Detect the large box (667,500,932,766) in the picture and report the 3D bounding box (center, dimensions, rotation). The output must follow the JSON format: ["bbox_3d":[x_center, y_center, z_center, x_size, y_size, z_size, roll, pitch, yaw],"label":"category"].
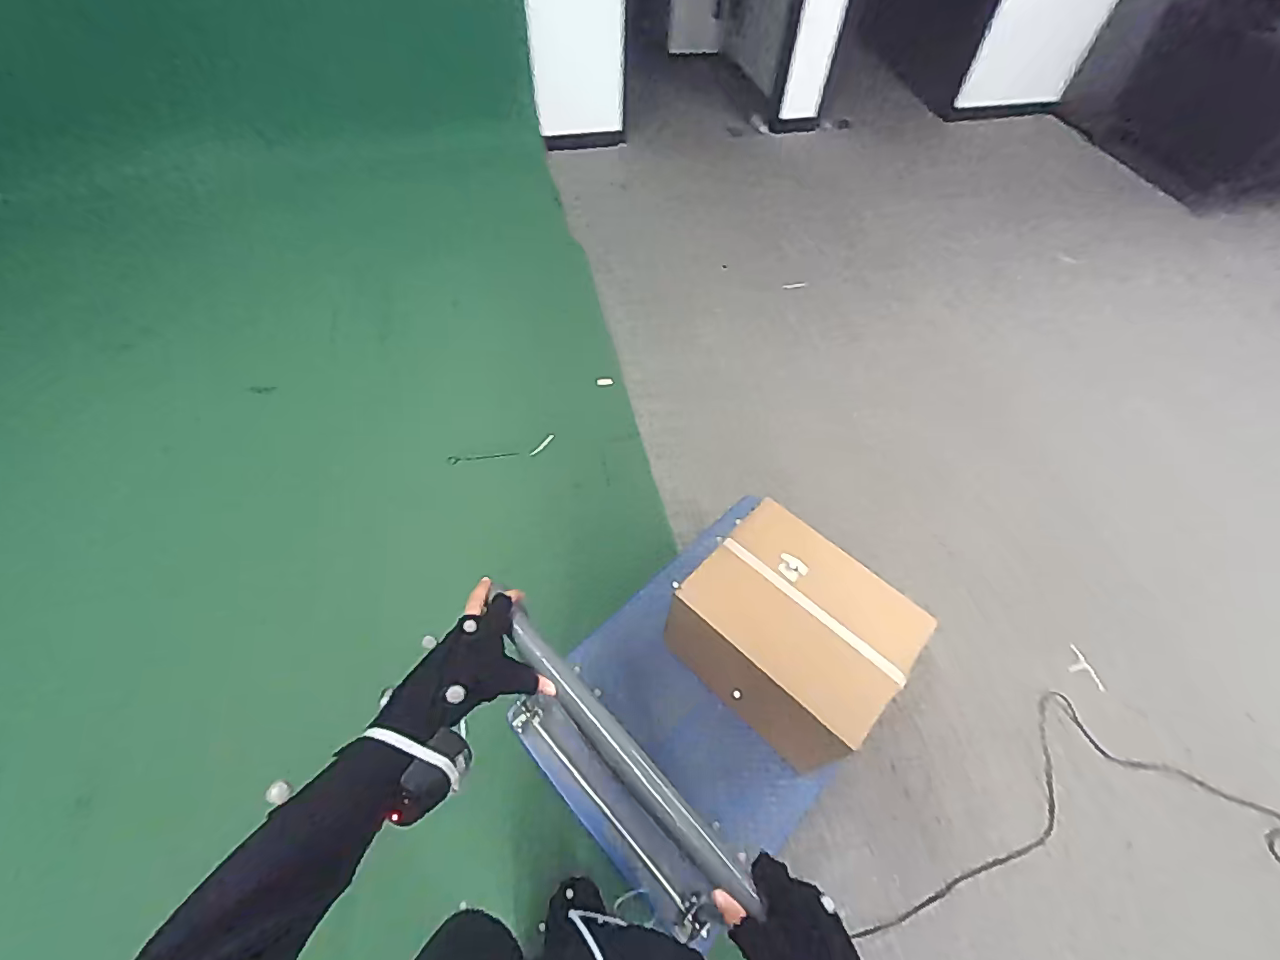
[{"bbox_3d":[0.311,0.328,1.160,0.408,0.320,0.320,38,61,23],"label":"large box"}]
